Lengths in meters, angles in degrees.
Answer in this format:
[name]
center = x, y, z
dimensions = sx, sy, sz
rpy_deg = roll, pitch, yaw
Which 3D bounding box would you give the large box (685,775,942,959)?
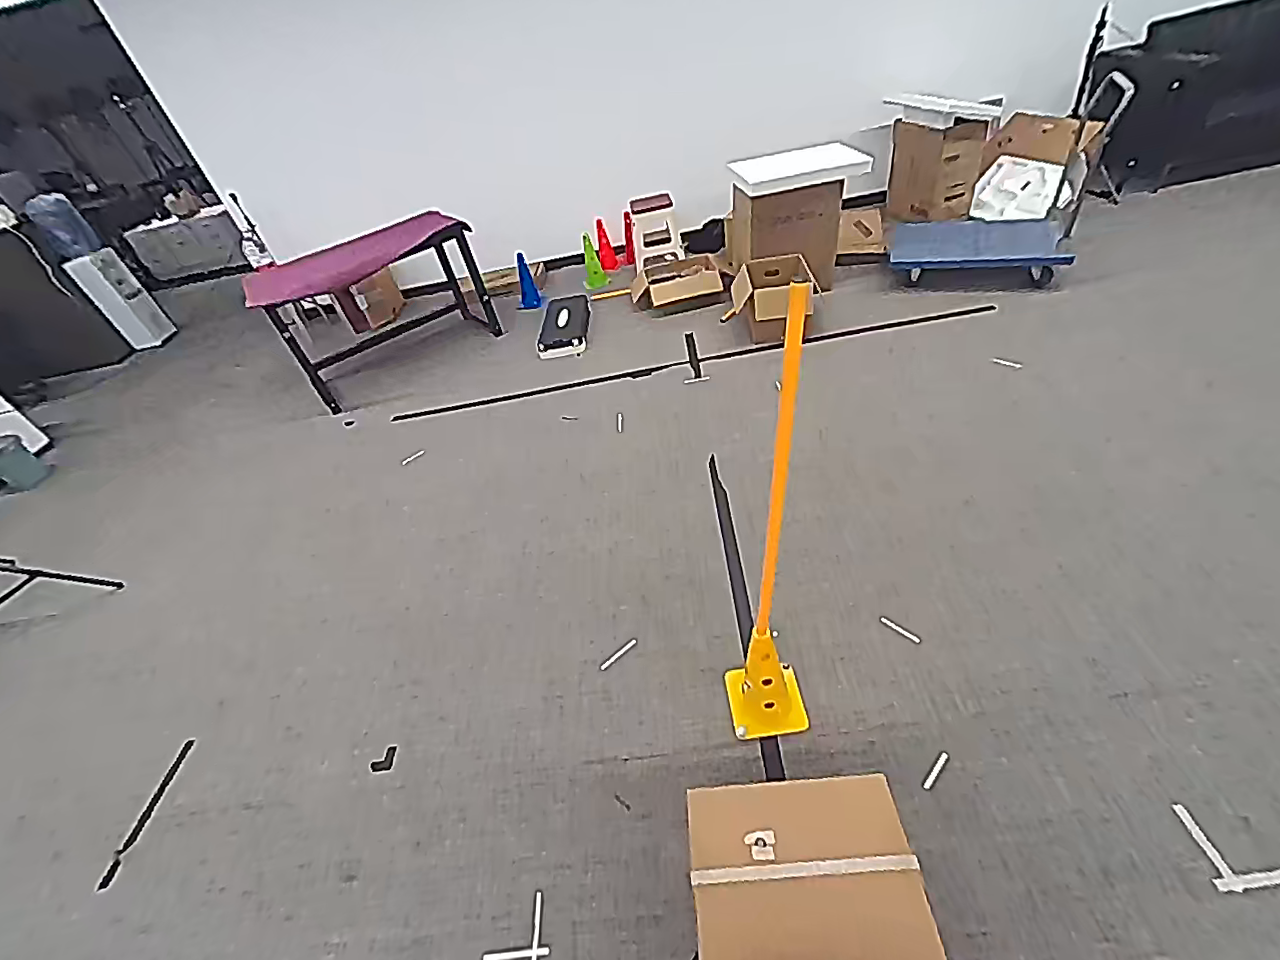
[large box]
center = 0.321, 0.840, 1.094
dimensions = 0.408, 0.320, 0.320
rpy_deg = -9, 39, 6
